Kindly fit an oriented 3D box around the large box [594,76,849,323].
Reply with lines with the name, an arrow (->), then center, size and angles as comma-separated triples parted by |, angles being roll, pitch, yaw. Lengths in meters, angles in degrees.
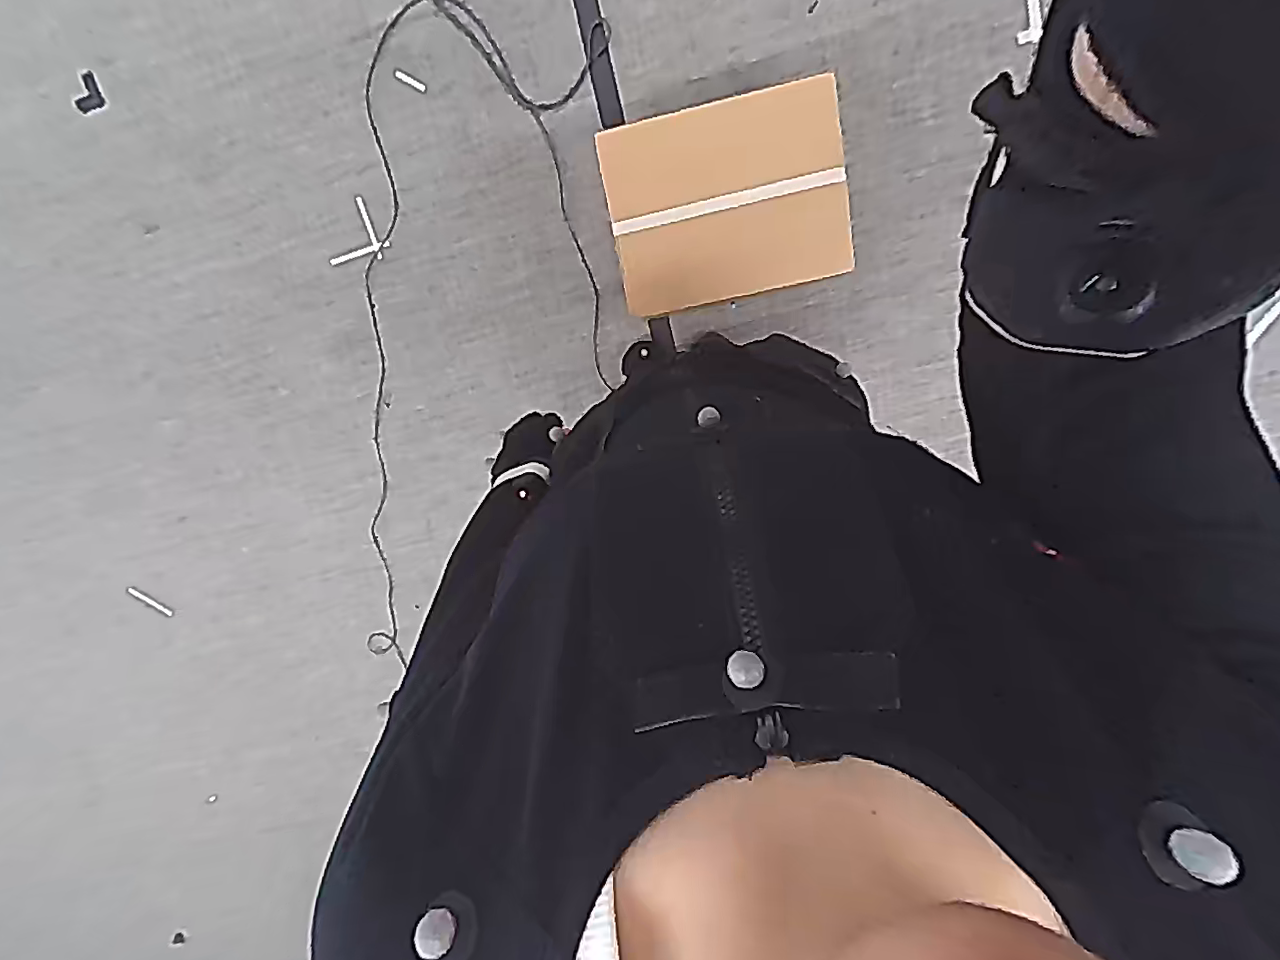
large box -> 0.152, -0.516, 1.083 | 0.408, 0.320, 0.320 | -11, 105, 6
